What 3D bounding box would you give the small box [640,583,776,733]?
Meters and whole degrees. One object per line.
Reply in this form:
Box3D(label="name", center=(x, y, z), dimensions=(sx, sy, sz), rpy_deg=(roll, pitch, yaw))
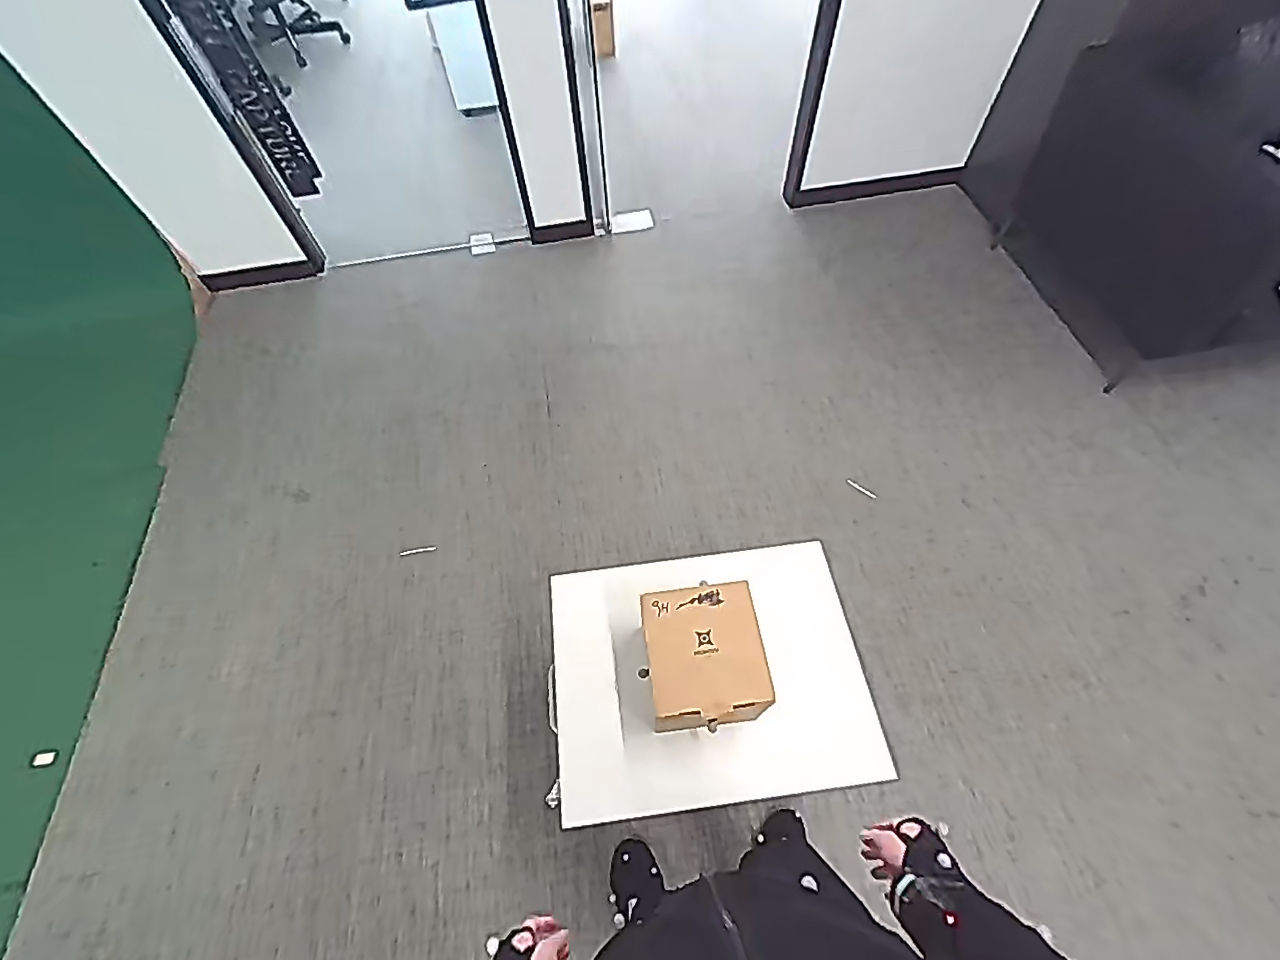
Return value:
Box3D(label="small box", center=(0.097, 0.282, 0.835), dimensions=(0.168, 0.176, 0.179), rpy_deg=(-9, 58, -3))
